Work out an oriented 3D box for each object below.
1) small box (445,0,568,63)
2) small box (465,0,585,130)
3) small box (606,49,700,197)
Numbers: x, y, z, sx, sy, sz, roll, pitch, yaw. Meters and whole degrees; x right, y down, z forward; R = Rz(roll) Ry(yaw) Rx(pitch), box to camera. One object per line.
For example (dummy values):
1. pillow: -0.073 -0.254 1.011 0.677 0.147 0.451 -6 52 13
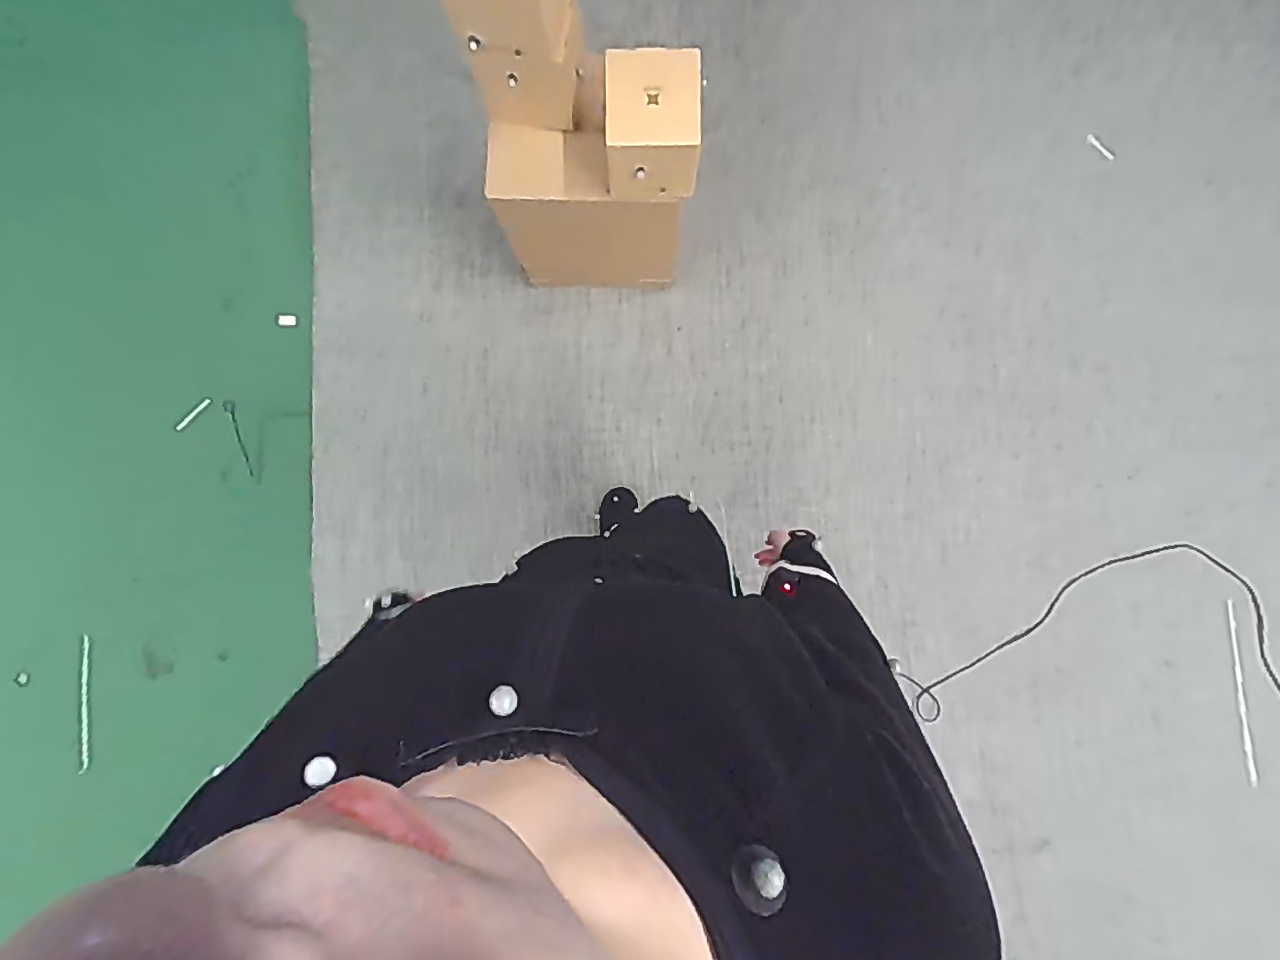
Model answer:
1. small box: -0.213 -0.815 0.859 0.168 0.176 0.179 9 85 1
2. small box: -0.208 -0.801 1.023 0.179 0.176 0.168 8 87 0
3. small box: 0.024 -0.654 1.011 0.168 0.176 0.179 0 87 0
